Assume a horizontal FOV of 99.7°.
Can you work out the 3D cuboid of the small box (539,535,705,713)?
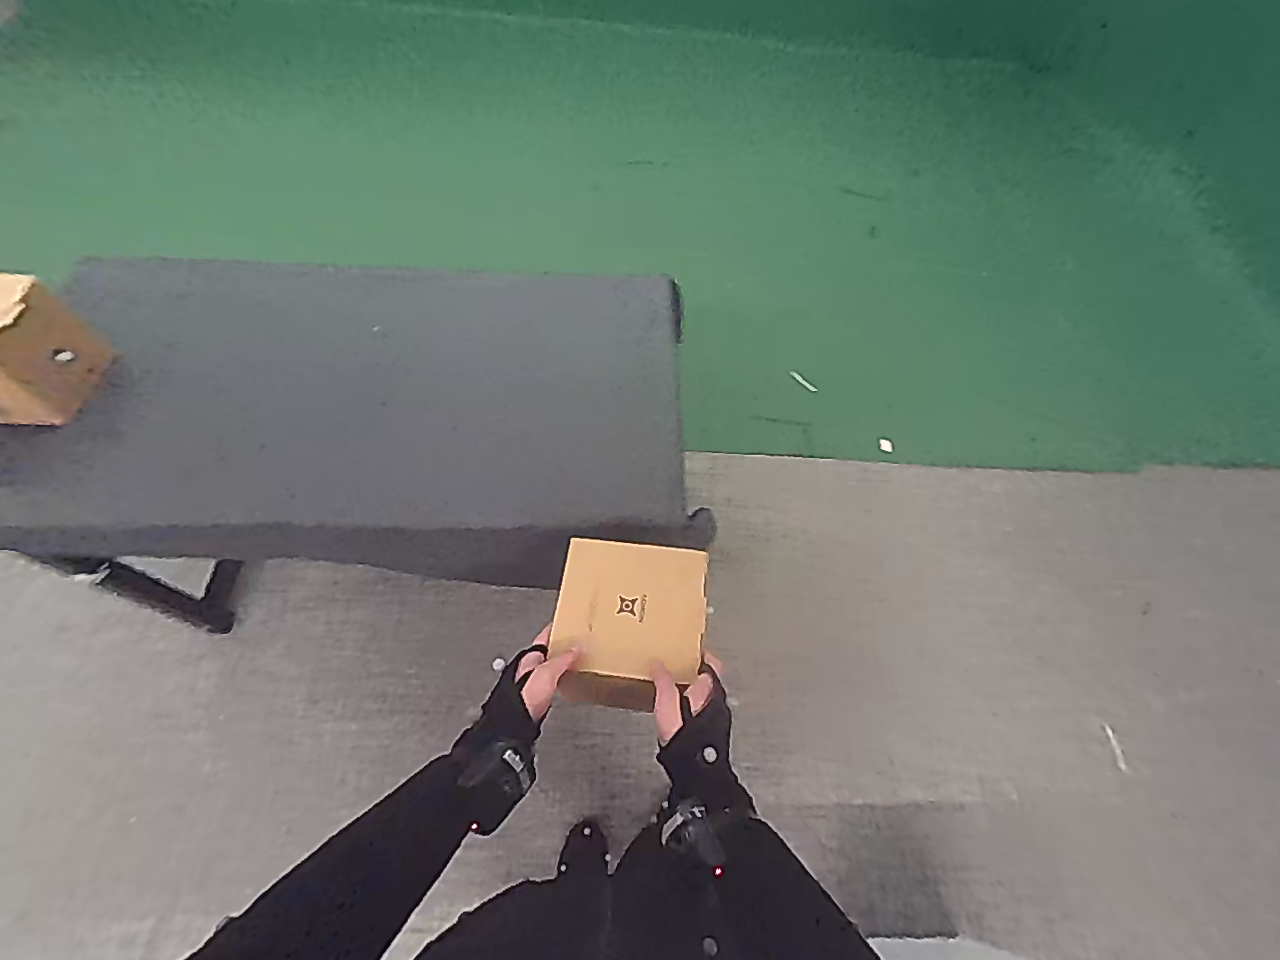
[{"bbox_3d":[-0.015,0.188,0.689,0.179,0.176,0.168,4,54,4],"label":"small box"}]
